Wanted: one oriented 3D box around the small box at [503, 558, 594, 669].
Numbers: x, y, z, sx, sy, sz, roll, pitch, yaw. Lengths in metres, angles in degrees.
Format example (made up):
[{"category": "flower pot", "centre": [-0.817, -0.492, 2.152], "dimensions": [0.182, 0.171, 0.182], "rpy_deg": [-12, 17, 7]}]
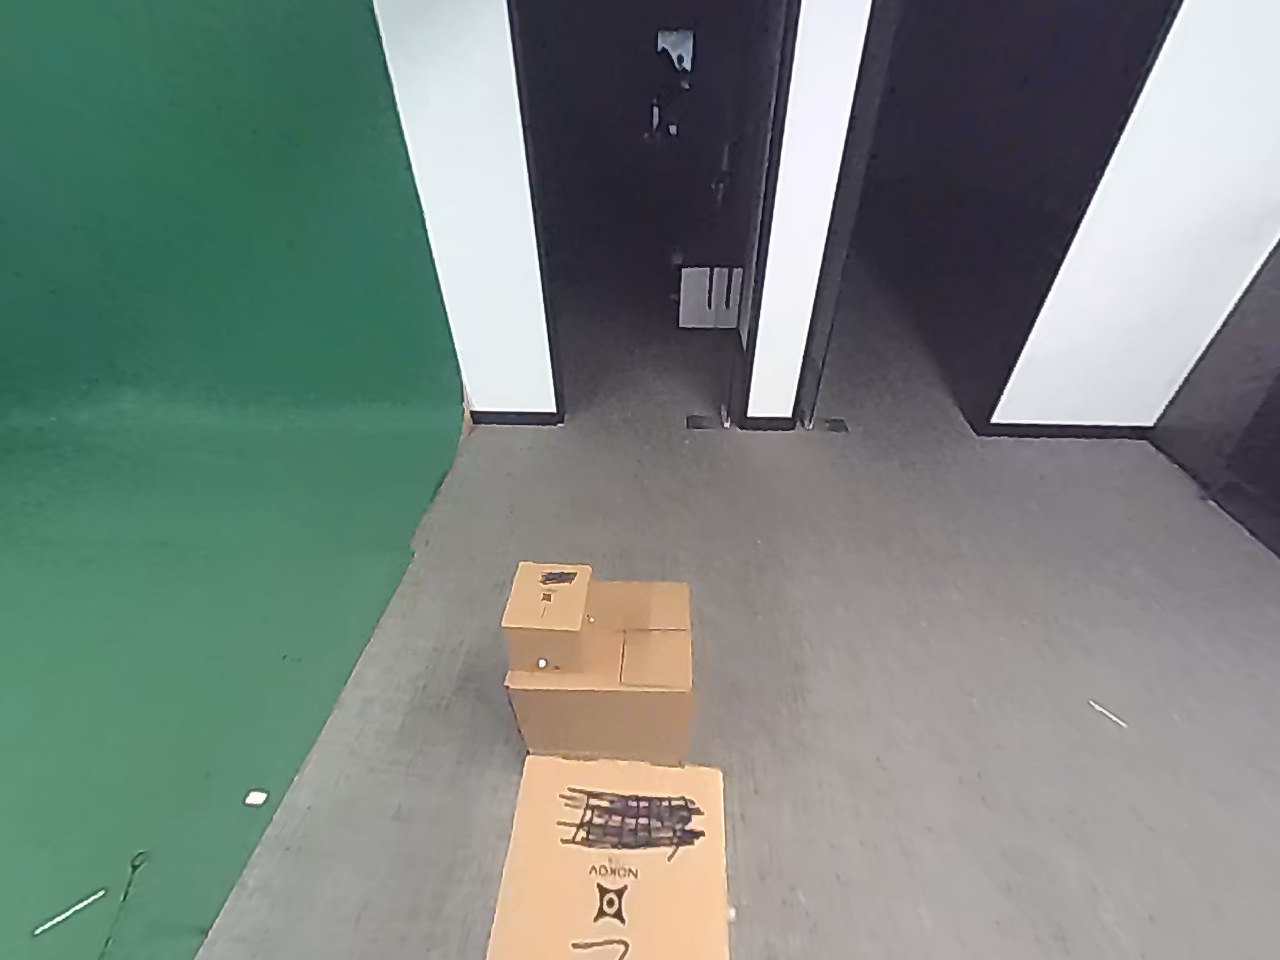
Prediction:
[{"category": "small box", "centre": [-0.196, 0.299, 1.217], "dimensions": [0.168, 0.176, 0.179], "rpy_deg": [3, 42, 3]}]
